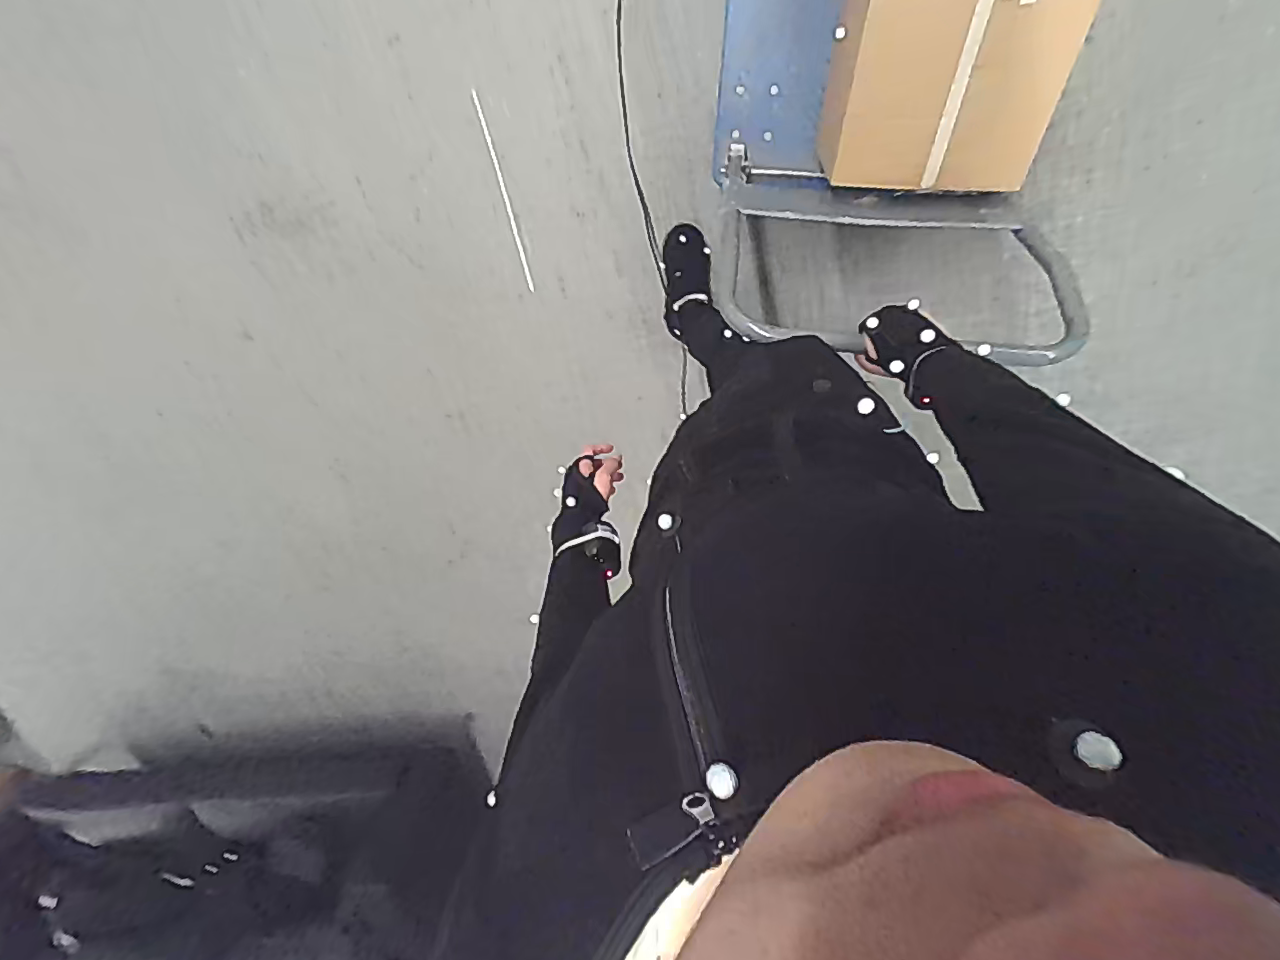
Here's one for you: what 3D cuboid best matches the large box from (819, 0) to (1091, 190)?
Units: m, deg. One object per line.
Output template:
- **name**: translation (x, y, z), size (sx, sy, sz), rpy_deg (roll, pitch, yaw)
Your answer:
- **large box**: translation (0.509, -0.751, 0.920), size (0.320, 0.320, 0.408), rpy_deg (5, 132, 6)
